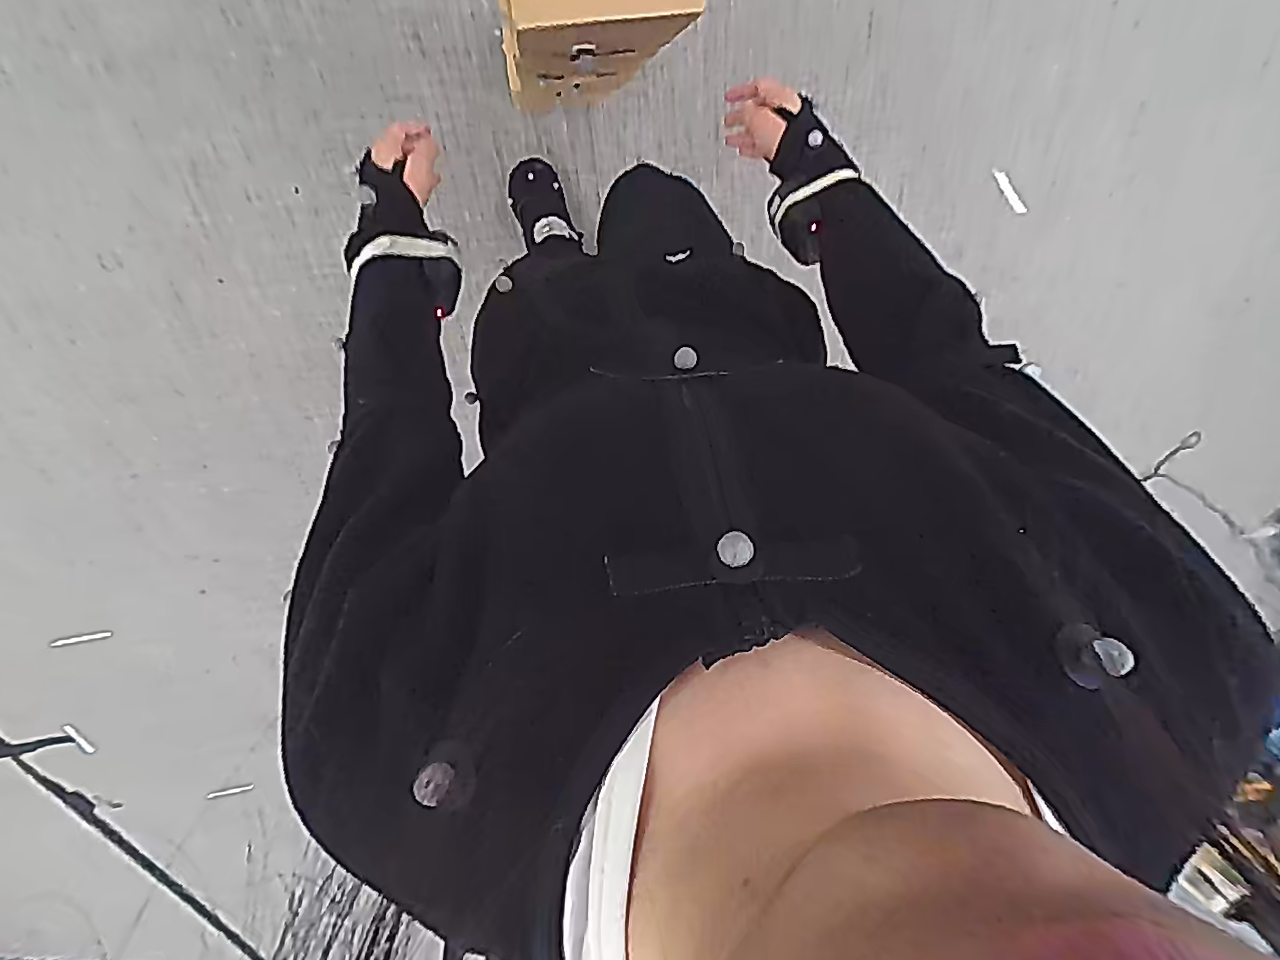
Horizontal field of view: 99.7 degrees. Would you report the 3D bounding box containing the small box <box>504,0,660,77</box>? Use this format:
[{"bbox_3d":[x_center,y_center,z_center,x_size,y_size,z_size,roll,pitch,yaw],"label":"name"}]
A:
[{"bbox_3d":[-0.074,-0.575,0.613,0.168,0.176,0.179,-9,121,-7],"label":"small box"}]

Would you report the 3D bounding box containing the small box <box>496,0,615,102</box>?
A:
[{"bbox_3d":[-0.138,-0.733,0.893,0.179,0.176,0.168,-7,122,-8],"label":"small box"}]

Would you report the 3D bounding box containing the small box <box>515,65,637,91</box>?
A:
[{"bbox_3d":[-0.100,-0.655,0.754,0.168,0.176,0.179,-9,122,-7],"label":"small box"}]

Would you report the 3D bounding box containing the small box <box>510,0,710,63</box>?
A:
[{"bbox_3d":[-0.042,-0.495,0.476,0.168,0.176,0.179,-10,123,-5],"label":"small box"}]
